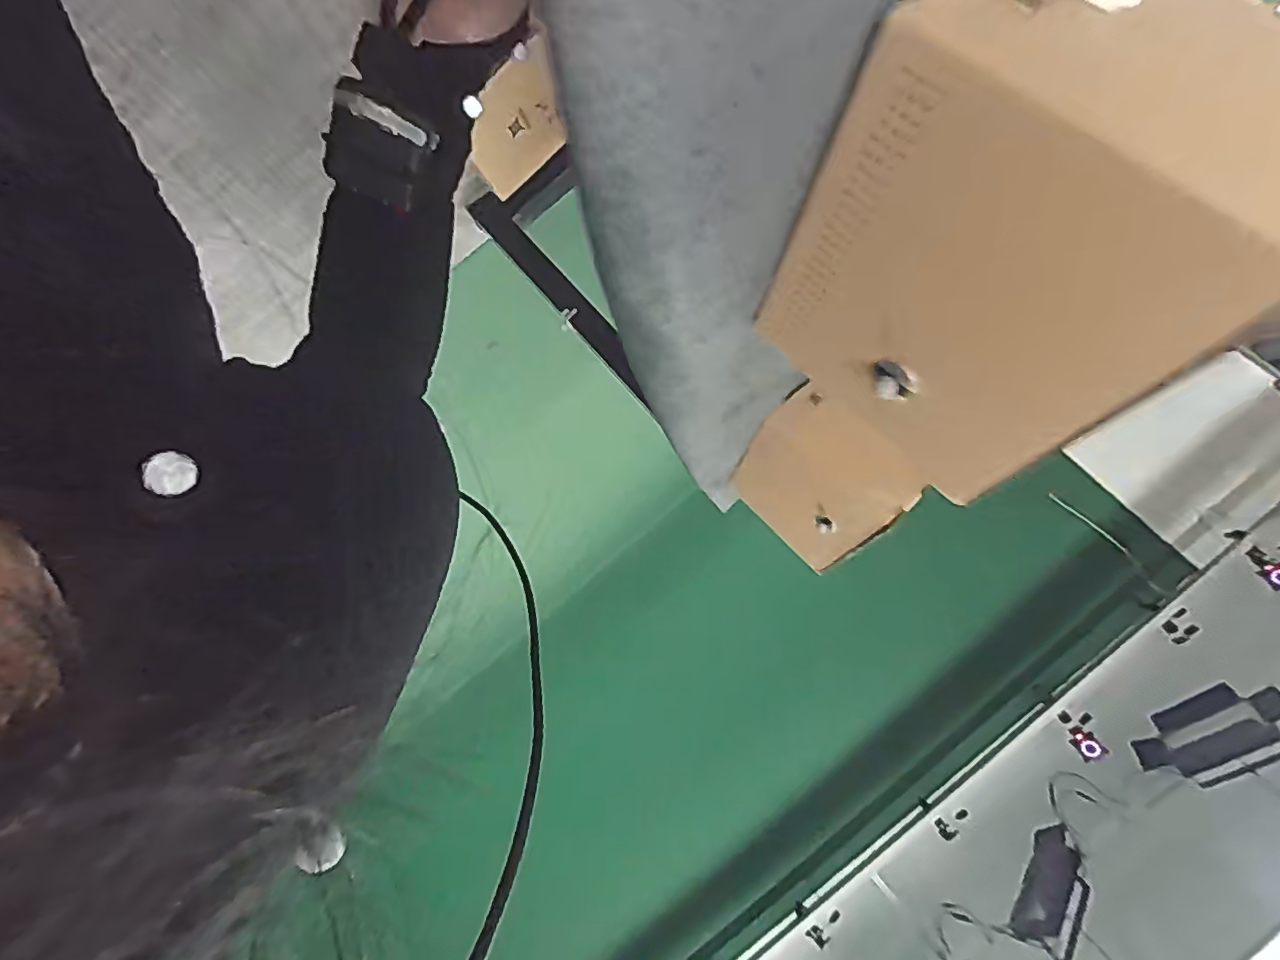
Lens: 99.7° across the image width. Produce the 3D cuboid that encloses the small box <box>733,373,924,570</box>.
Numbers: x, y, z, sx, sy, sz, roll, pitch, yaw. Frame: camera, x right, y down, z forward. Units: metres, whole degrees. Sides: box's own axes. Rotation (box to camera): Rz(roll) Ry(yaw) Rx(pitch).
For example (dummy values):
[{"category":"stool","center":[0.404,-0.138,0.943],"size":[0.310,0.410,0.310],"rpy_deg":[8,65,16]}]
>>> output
[{"category":"small box","center":[0.238,-0.024,0.660],"size":[0.168,0.176,0.179],"rpy_deg":[-37,164,-21]}]

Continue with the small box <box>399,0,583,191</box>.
[{"category":"small box","center":[-0.220,-0.582,0.792],"size":[0.179,0.176,0.168],"rpy_deg":[-41,165,5]}]
